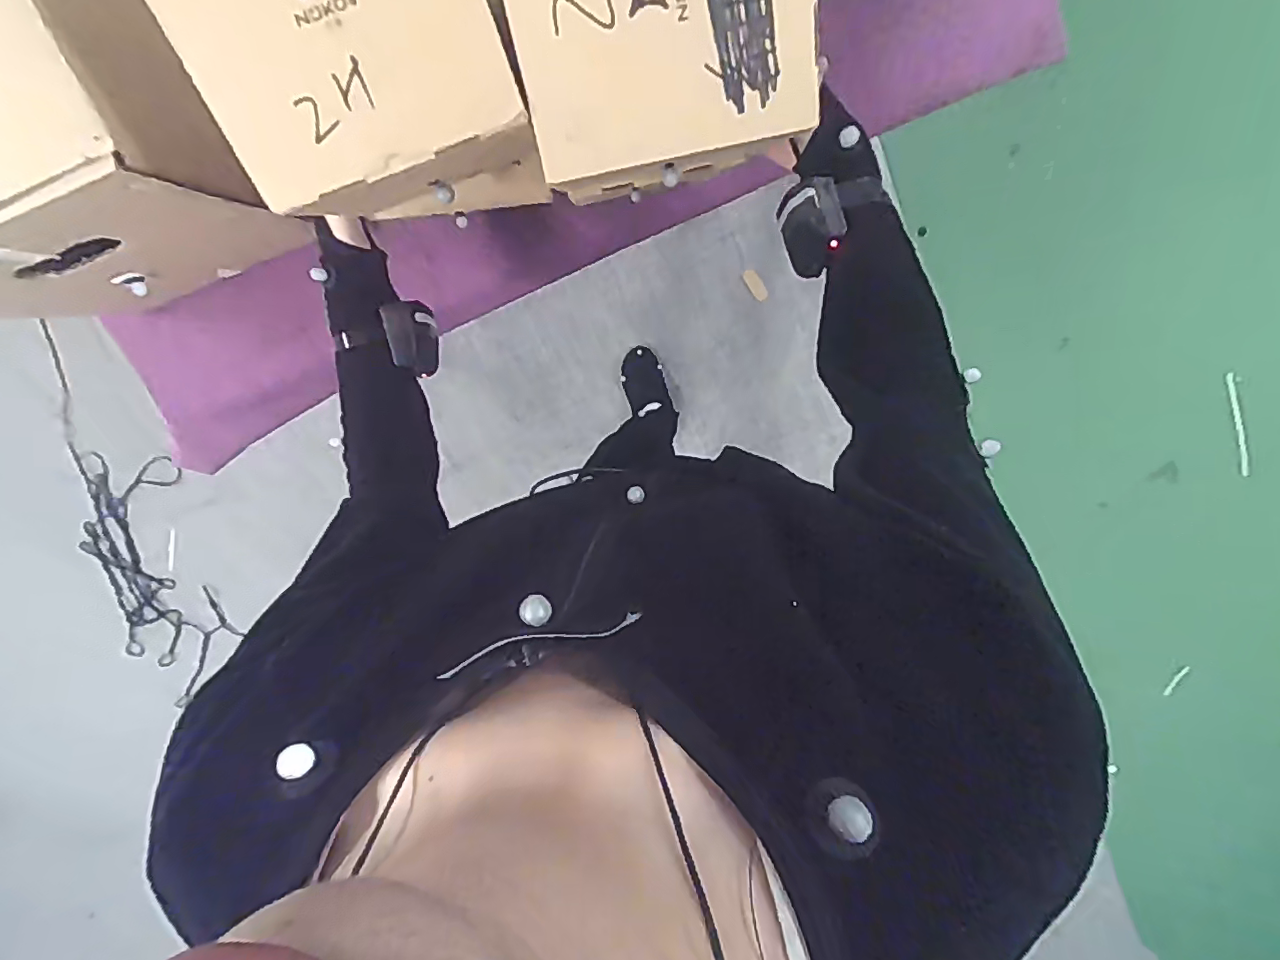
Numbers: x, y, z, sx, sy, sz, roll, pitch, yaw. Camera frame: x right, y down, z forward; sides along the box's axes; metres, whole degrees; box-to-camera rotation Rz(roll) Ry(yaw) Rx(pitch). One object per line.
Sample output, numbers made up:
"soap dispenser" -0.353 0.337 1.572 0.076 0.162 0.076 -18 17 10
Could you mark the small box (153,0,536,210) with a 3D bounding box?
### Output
"small box" -0.177 -0.293 0.351 0.168 0.176 0.179 -19 117 2
